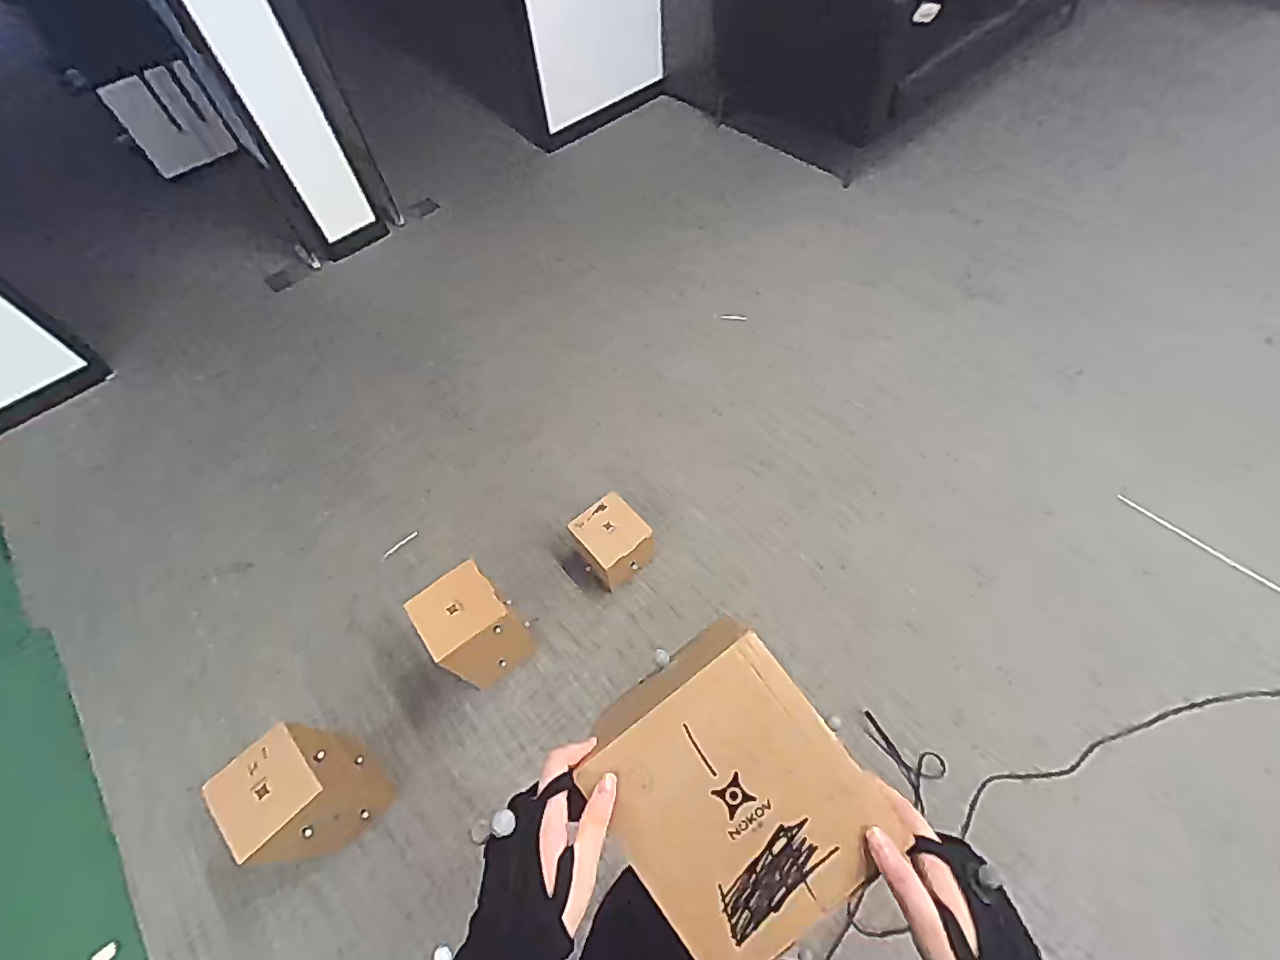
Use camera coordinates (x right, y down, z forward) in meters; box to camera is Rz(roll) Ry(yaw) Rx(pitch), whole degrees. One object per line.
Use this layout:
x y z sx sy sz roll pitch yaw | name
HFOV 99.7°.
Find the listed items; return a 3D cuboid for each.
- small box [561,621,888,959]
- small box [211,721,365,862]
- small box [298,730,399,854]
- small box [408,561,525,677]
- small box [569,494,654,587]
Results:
0.062 0.241 0.459 0.168 0.176 0.179 -38 80 -3 | small box
-0.697 0.622 1.089 0.168 0.176 0.179 -41 64 -21 | small box
-0.687 0.706 1.231 0.168 0.176 0.179 -40 63 -19 | small box
-0.393 0.326 1.250 0.179 0.176 0.168 -35 62 -16 | small box
-0.072 0.179 1.510 0.168 0.176 0.179 -36 63 -17 | small box
